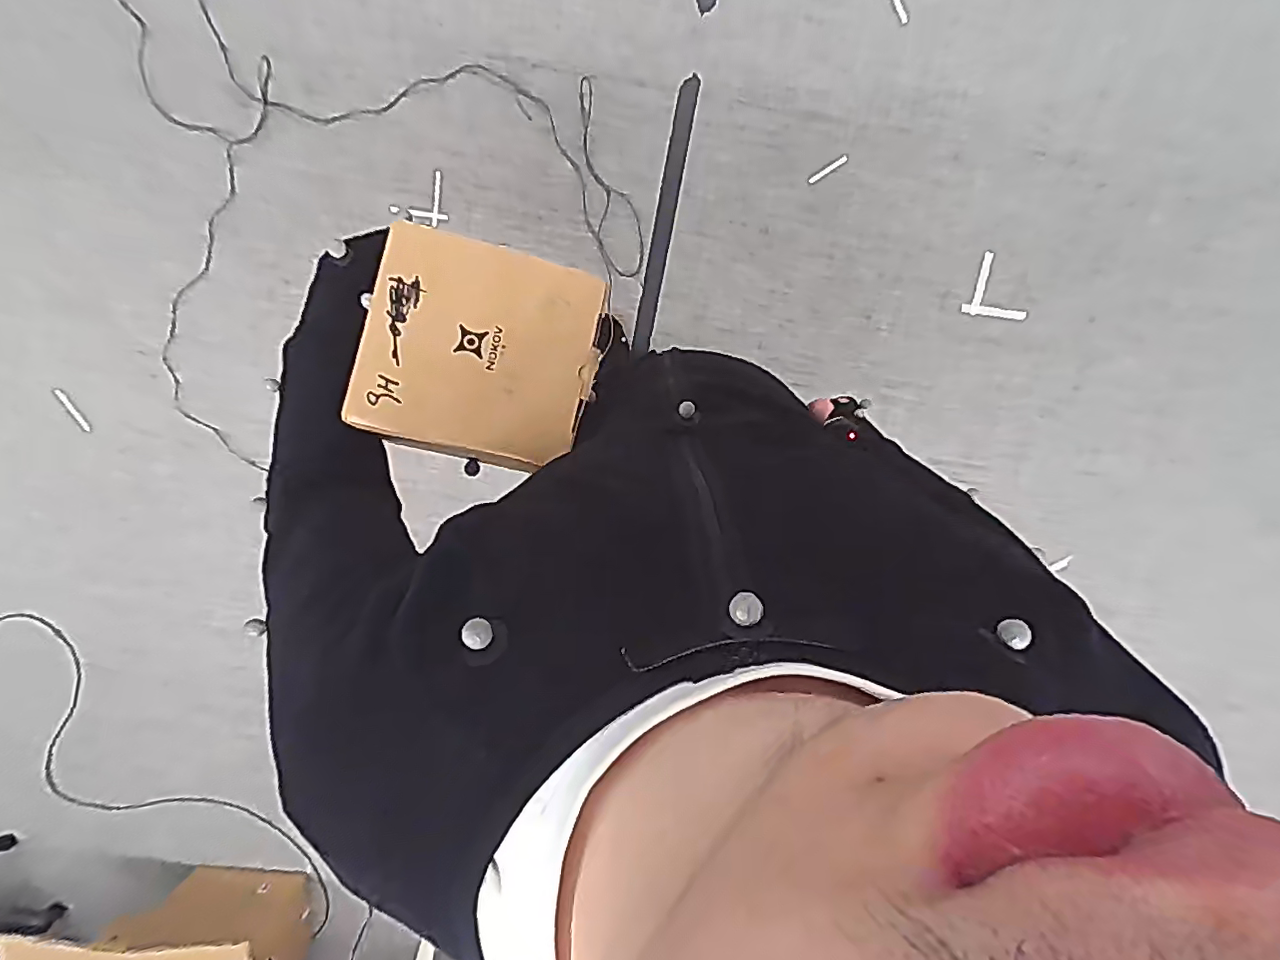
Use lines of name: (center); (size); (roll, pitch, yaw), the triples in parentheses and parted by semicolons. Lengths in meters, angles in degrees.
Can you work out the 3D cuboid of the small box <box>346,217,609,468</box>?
small box: (-0.143, -0.108, 0.514); (0.179, 0.176, 0.168); (13, 85, -12)
